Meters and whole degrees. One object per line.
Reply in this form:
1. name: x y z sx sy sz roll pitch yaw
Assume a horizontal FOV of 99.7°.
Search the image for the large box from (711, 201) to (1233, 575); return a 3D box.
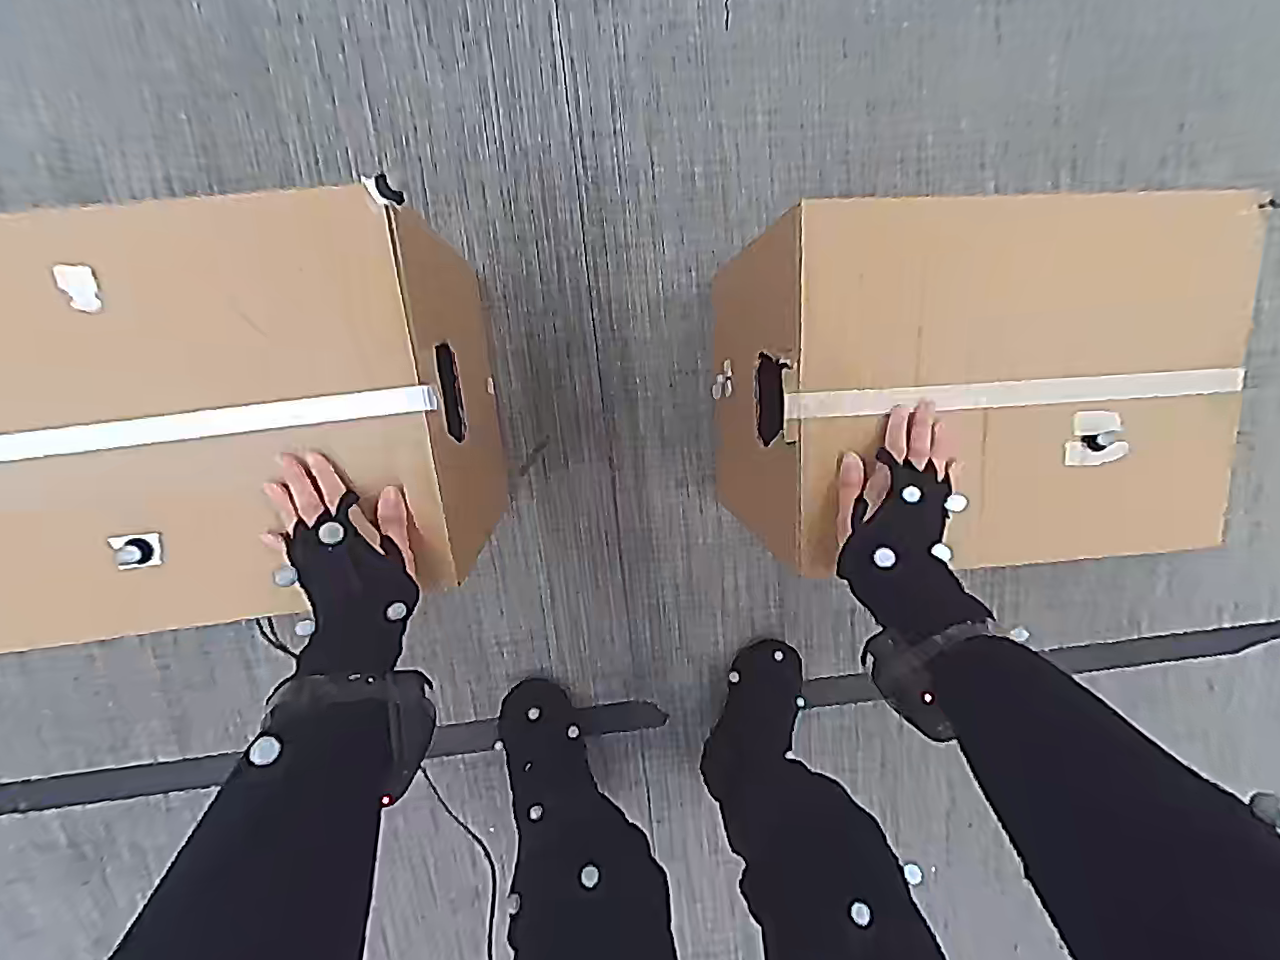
1. large box: 0.317 -0.104 0.628 0.408 0.320 0.320 -4 101 -5
